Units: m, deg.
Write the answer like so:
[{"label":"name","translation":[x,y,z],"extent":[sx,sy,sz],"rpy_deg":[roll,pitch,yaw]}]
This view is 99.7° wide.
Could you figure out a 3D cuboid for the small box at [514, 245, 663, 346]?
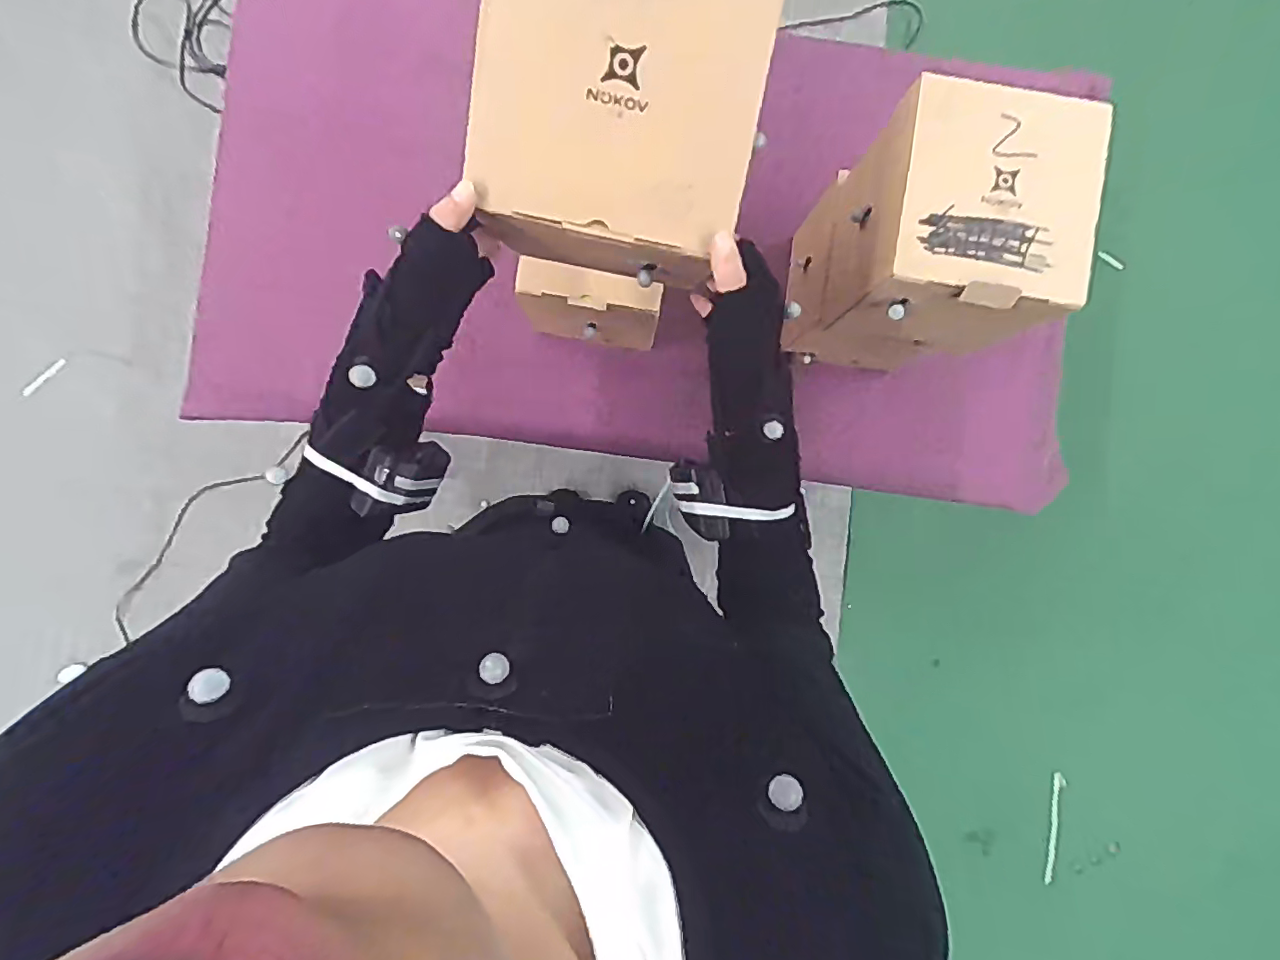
[{"label":"small box","translation":[-0.049,-0.280,0.680],"extent":[0.168,0.176,0.179],"rpy_deg":[10,90,-2]}]

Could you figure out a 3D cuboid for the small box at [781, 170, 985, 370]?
[{"label":"small box","translation":[0.292,-0.249,0.689],"extent":[0.168,0.176,0.179],"rpy_deg":[11,90,-4]}]

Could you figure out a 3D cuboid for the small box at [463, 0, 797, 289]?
[{"label":"small box","translation":[-0.010,-0.243,0.380],"extent":[0.168,0.176,0.179],"rpy_deg":[12,104,-6]}]
